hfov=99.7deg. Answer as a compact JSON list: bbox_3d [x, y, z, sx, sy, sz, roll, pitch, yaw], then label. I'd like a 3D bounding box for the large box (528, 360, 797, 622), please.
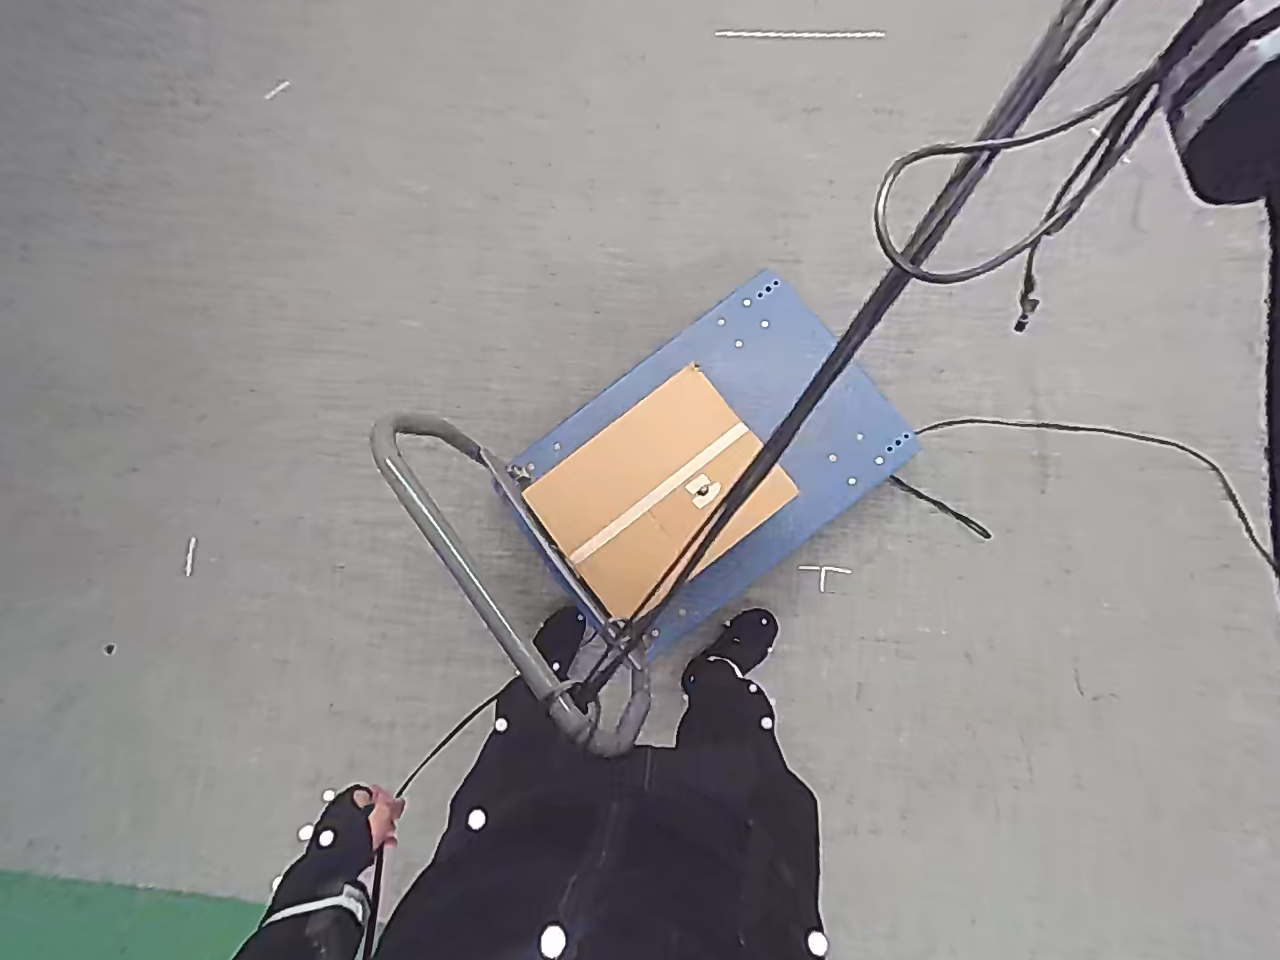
[{"bbox_3d":[0.044,0.034,1.125,0.408,0.320,0.320,-38,83,-2],"label":"large box"}]
